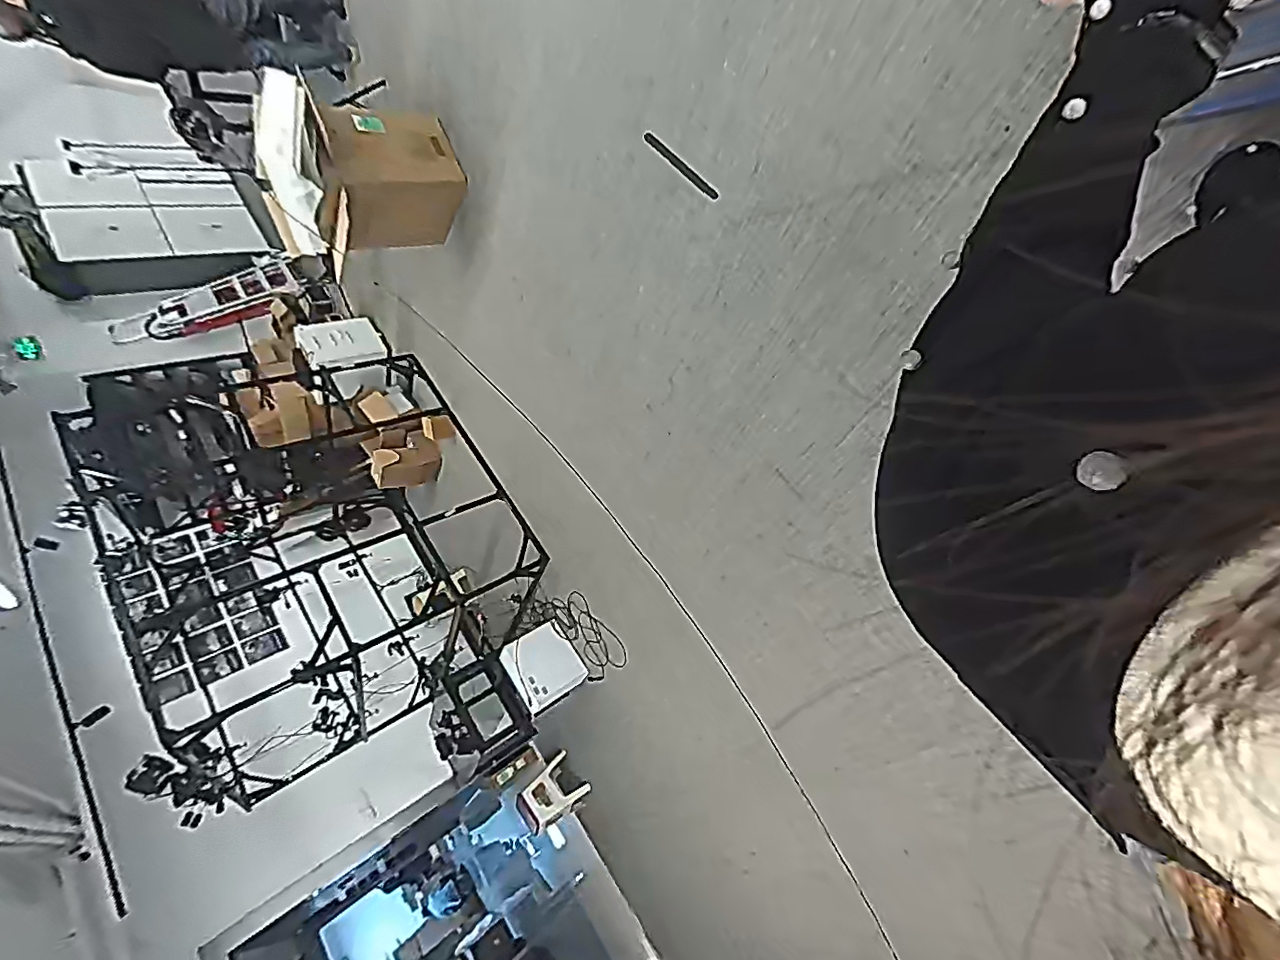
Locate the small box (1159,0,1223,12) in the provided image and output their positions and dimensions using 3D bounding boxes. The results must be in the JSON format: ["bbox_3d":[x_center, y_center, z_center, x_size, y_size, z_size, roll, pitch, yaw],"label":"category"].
[{"bbox_3d":[0.808,-0.755,0.704,0.168,0.176,0.179,8,116,48],"label":"small box"}]
